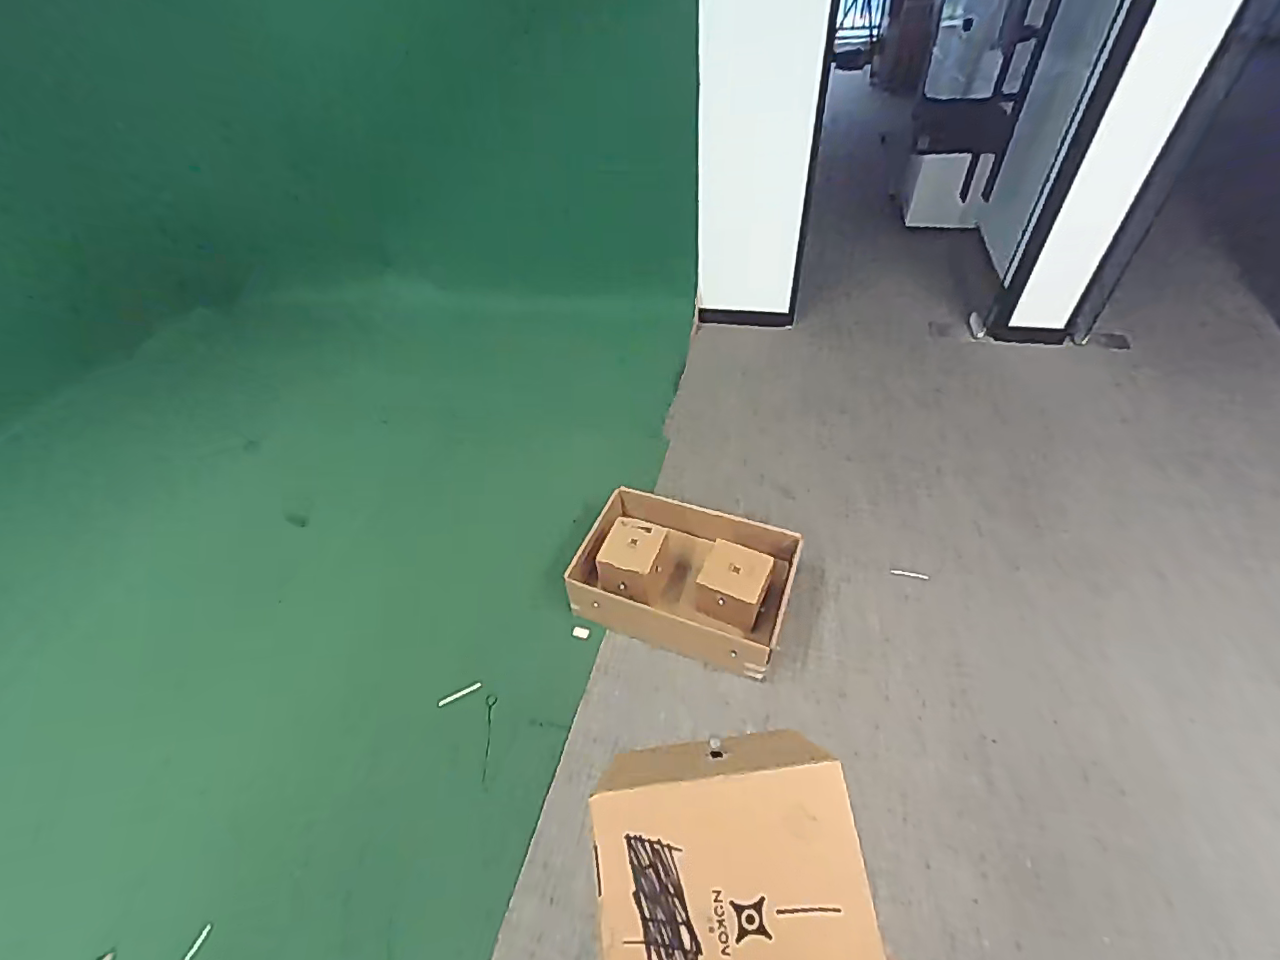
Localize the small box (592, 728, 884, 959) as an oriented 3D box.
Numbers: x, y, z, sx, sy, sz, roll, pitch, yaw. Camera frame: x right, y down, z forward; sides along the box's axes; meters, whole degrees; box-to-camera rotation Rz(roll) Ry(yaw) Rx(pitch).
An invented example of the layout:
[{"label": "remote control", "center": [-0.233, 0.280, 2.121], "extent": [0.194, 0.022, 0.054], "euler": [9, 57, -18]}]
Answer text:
[{"label": "small box", "center": [0.066, 0.300, 0.424], "extent": [0.179, 0.176, 0.168], "euler": [-8, 71, 0]}]
